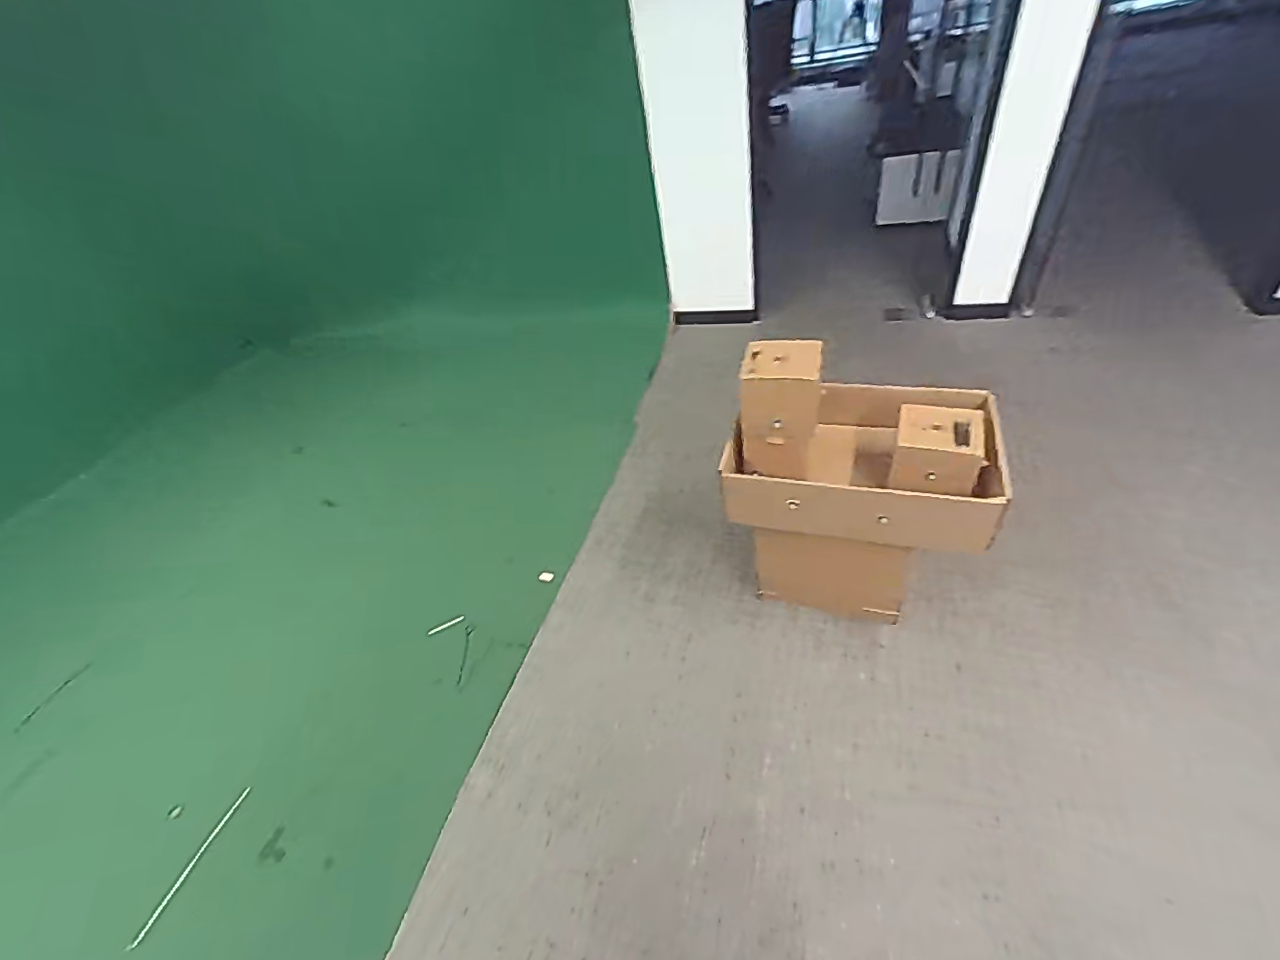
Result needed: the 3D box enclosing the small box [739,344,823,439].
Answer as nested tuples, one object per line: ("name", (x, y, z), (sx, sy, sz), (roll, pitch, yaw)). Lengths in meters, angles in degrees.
("small box", (0.345, -0.215, 1.322), (0.179, 0.176, 0.168), (5, 45, 19))
